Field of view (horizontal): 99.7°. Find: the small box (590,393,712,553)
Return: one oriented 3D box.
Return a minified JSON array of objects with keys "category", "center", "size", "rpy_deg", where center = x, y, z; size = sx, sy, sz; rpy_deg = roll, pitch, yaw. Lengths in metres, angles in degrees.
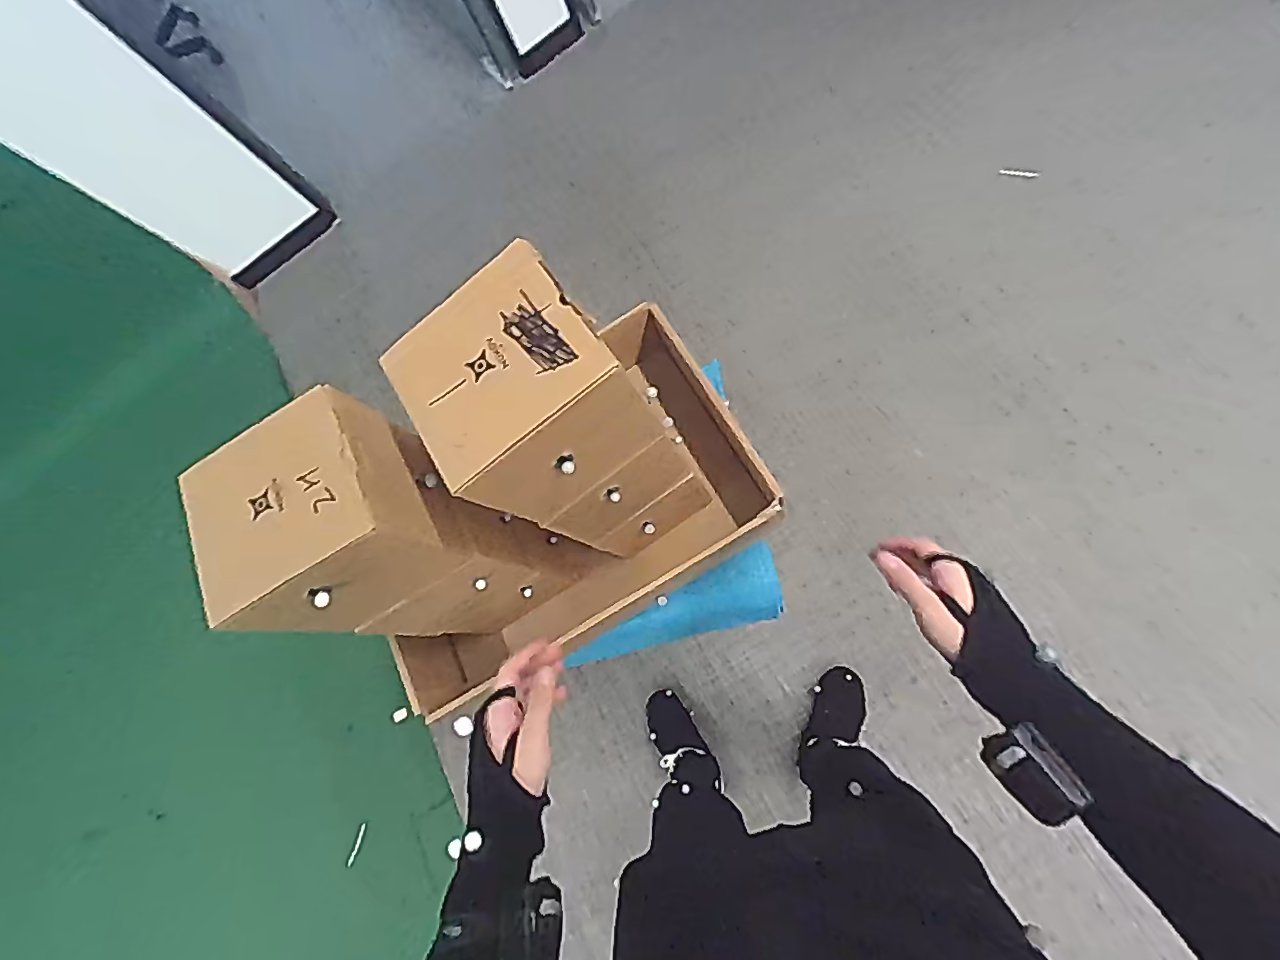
[{"category":"small box","center":[-0.009,-0.001,0.845],"size":[0.179,0.176,0.168],"rpy_deg":[-36,69,7]}]

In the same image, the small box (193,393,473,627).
[{"category":"small box","center":[-0.313,0.046,0.573],"size":[0.179,0.176,0.168],"rpy_deg":[-30,70,5]}]

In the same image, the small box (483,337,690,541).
[{"category":"small box","center":[-0.060,-0.040,0.695],"size":[0.179,0.176,0.168],"rpy_deg":[-37,69,6]}]

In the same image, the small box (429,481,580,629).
[{"category":"small box","center":[-0.227,0.131,0.879],"size":[0.179,0.176,0.168],"rpy_deg":[-32,69,4]}]
